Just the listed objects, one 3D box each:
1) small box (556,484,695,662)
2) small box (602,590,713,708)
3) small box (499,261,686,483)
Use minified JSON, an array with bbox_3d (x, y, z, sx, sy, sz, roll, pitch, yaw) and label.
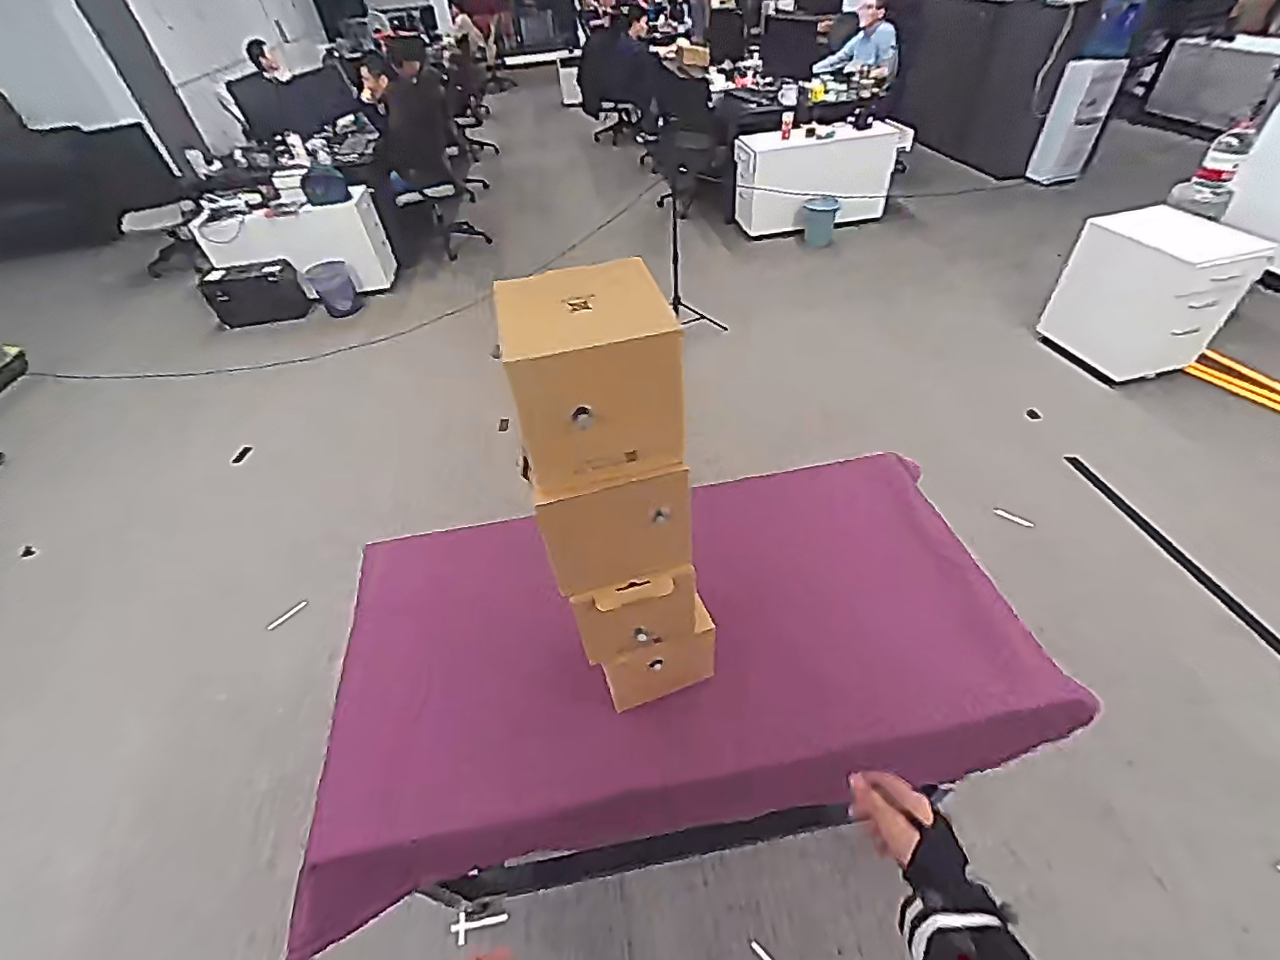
[{"bbox_3d":[-0.022,0.138,0.802,0.168,0.176,0.179,-13,45,-7],"label":"small box"},{"bbox_3d":[0.013,0.255,0.914,0.179,0.176,0.168,-16,46,-11],"label":"small box"},{"bbox_3d":[-0.049,-0.113,0.592,0.168,0.176,0.179,-12,44,-7],"label":"small box"}]
